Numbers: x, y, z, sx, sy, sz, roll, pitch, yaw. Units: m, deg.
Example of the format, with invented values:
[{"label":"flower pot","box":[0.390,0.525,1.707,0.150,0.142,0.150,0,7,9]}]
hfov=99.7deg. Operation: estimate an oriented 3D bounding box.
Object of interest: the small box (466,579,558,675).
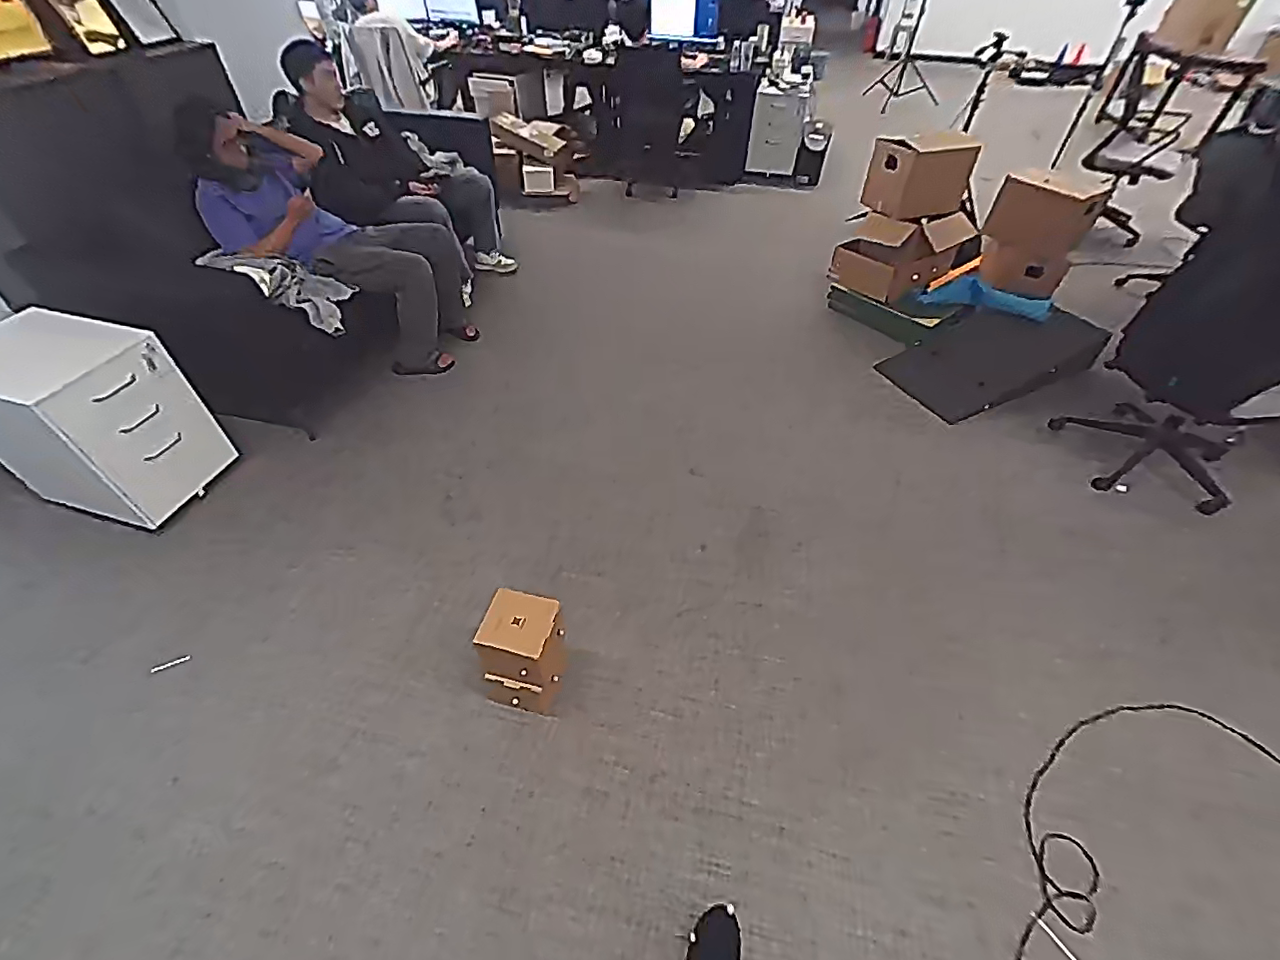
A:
[{"label":"small box","box":[-0.325,0.388,1.416,0.179,0.176,0.168,11,46,9]}]

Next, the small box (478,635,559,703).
[{"label":"small box","box":[-0.338,0.514,1.546,0.168,0.176,0.179,9,47,8]}]
